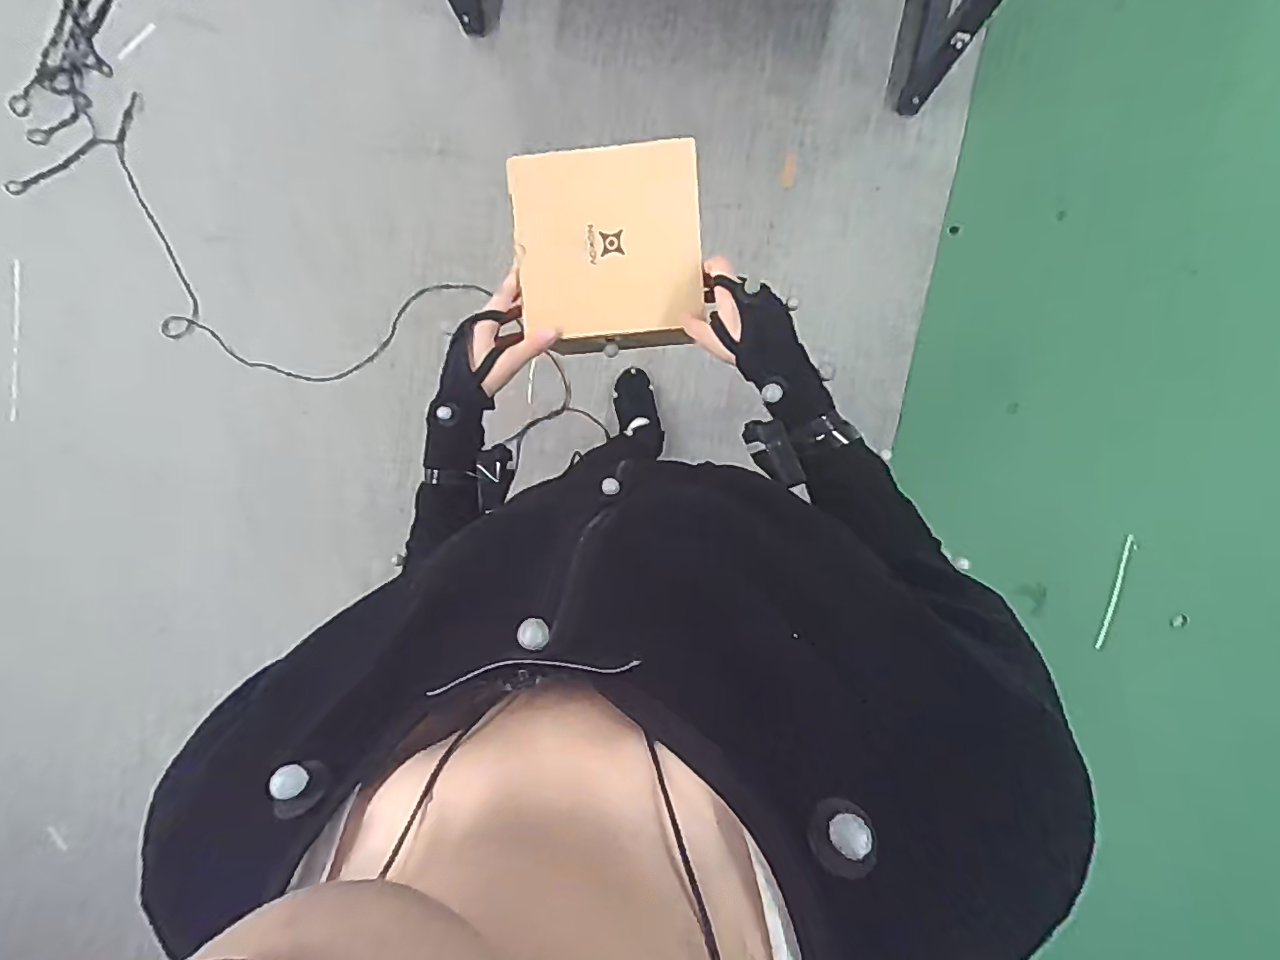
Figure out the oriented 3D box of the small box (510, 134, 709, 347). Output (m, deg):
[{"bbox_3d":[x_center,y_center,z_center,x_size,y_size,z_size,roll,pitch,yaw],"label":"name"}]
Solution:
[{"bbox_3d":[-0.022,-0.238,0.579,0.179,0.176,0.168,-4,99,6],"label":"small box"}]
